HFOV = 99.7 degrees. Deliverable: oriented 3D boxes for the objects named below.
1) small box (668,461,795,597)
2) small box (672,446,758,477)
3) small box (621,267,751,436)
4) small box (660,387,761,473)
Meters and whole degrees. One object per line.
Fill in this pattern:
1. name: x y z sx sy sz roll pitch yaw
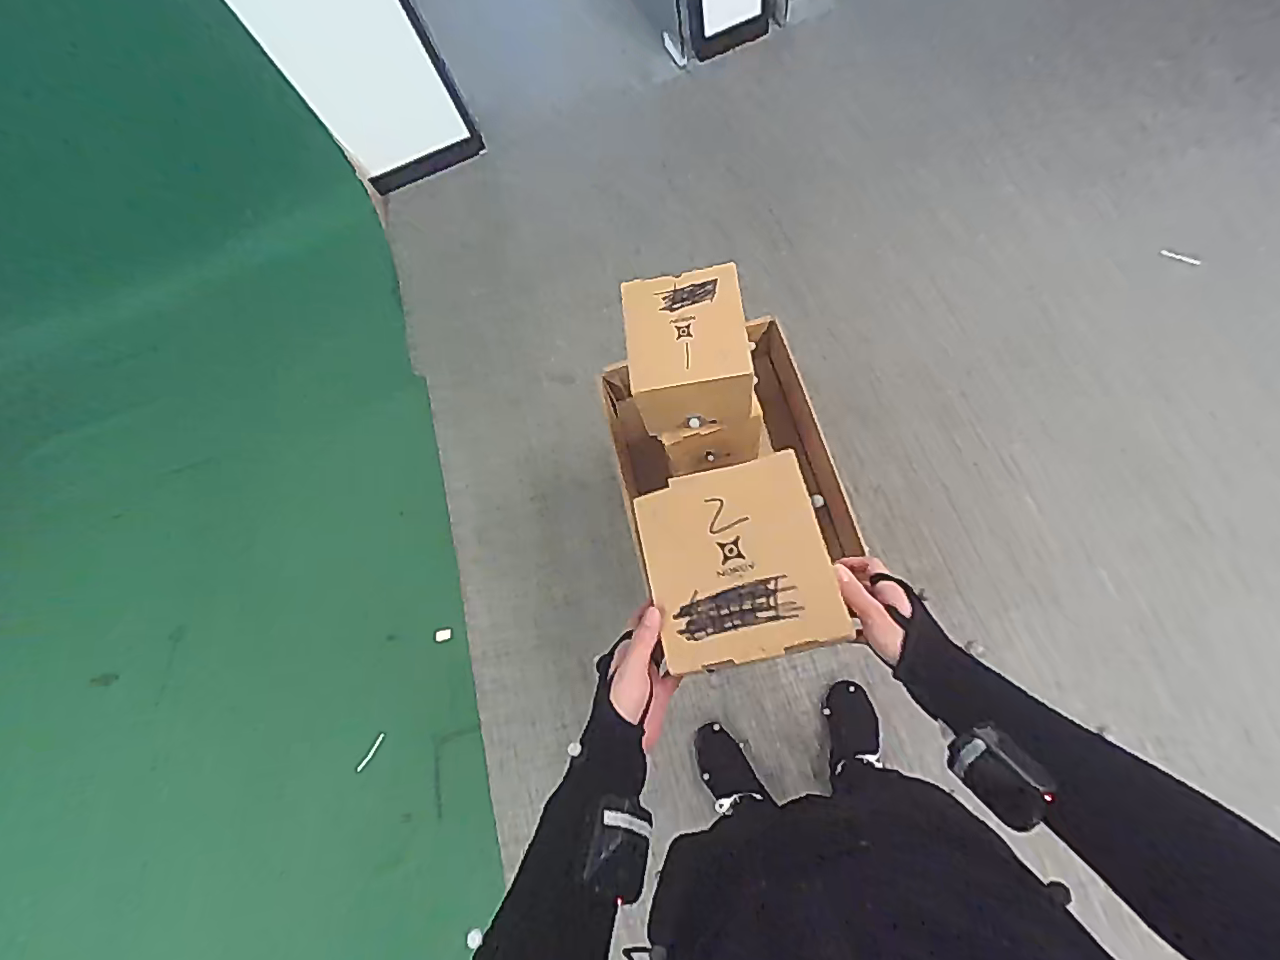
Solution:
1. small box: 0.148 0.090 0.880 0.168 0.176 0.179 -11 69 7
2. small box: 0.138 -0.087 1.120 0.168 0.176 0.179 -17 71 6
3. small box: 0.071 -0.184 0.816 0.168 0.176 0.179 -8 73 8
4. small box: 0.107 -0.133 0.968 0.168 0.176 0.179 -17 71 5
